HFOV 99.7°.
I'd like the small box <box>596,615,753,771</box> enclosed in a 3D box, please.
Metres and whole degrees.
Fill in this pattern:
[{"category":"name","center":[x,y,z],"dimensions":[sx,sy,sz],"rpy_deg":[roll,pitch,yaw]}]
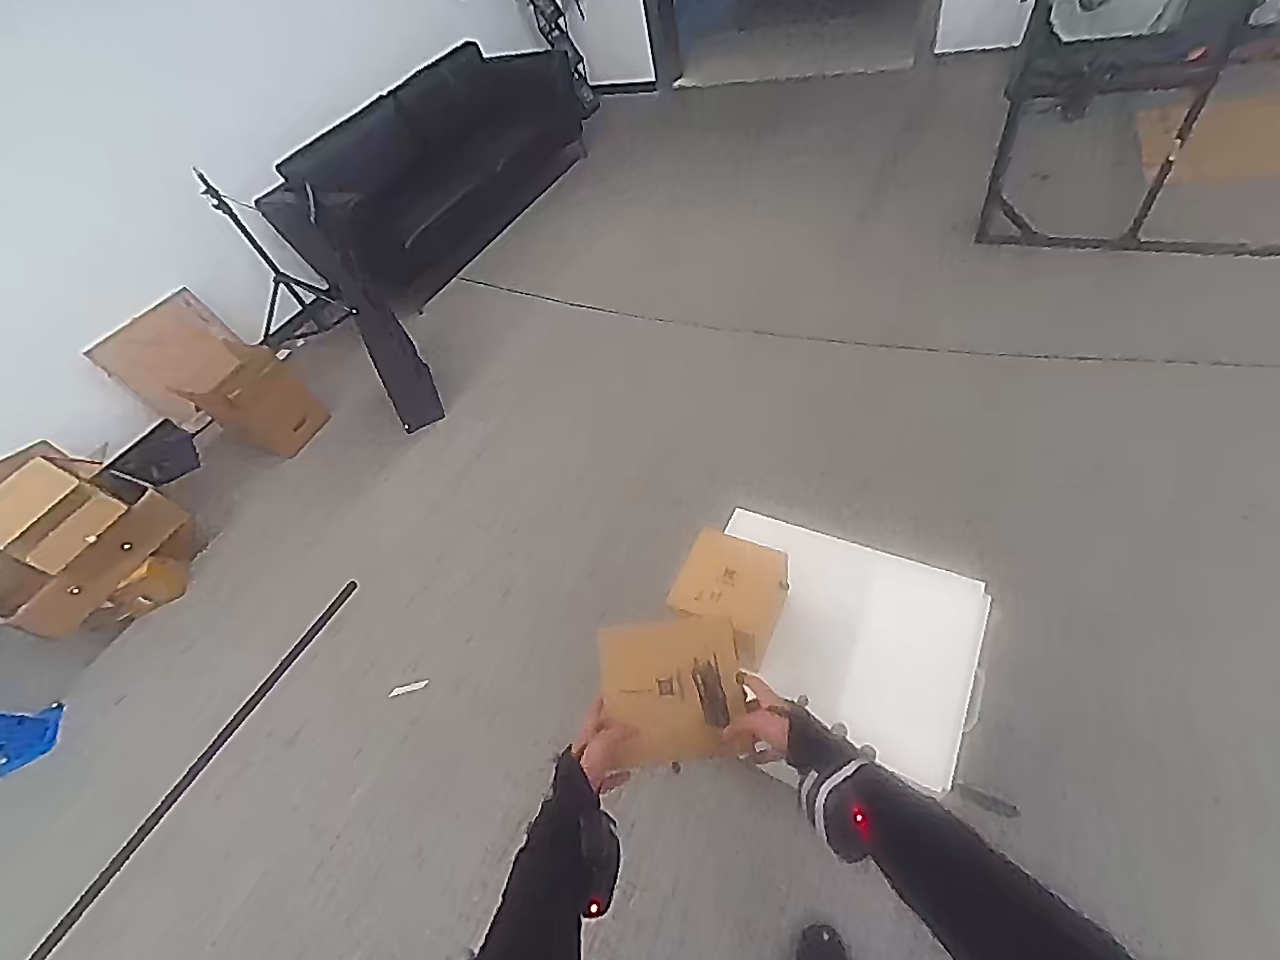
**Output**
[{"category":"small box","center":[0.043,0.287,0.729],"dimensions":[0.179,0.176,0.168],"rpy_deg":[-8,64,2]}]

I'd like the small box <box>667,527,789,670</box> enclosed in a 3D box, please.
[{"category":"small box","center":[0.169,0.222,1.009],"dimensions":[0.168,0.176,0.179],"rpy_deg":[16,58,27]}]
